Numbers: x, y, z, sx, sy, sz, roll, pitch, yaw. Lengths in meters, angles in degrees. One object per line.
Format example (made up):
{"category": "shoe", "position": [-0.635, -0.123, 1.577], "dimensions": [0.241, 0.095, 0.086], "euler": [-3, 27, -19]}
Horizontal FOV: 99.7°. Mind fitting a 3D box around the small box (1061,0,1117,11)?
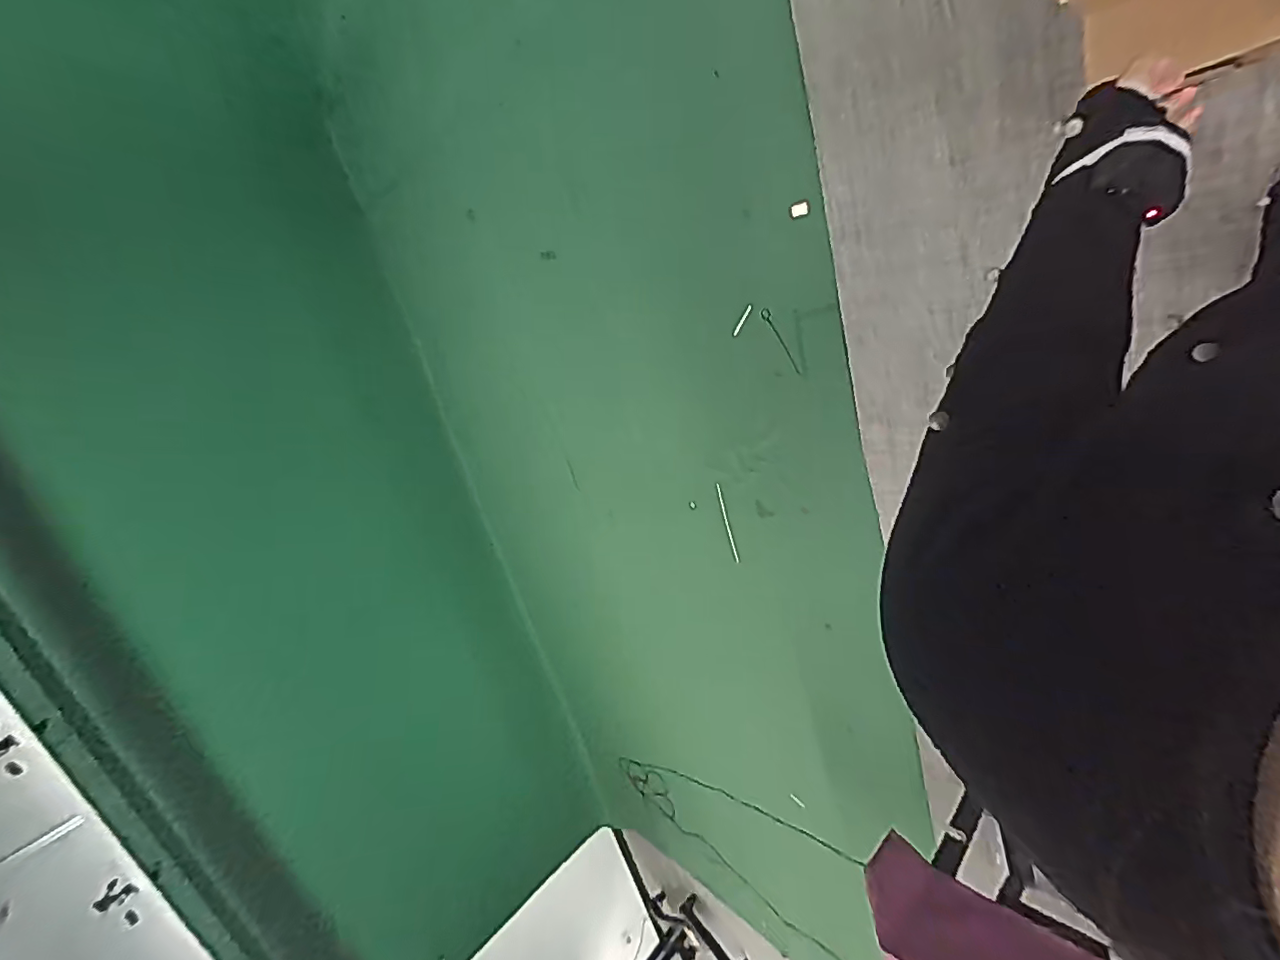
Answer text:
{"category": "small box", "position": [0.622, -0.715, 0.648], "dimensions": [0.179, 0.176, 0.168], "euler": [3, 114, 50]}
